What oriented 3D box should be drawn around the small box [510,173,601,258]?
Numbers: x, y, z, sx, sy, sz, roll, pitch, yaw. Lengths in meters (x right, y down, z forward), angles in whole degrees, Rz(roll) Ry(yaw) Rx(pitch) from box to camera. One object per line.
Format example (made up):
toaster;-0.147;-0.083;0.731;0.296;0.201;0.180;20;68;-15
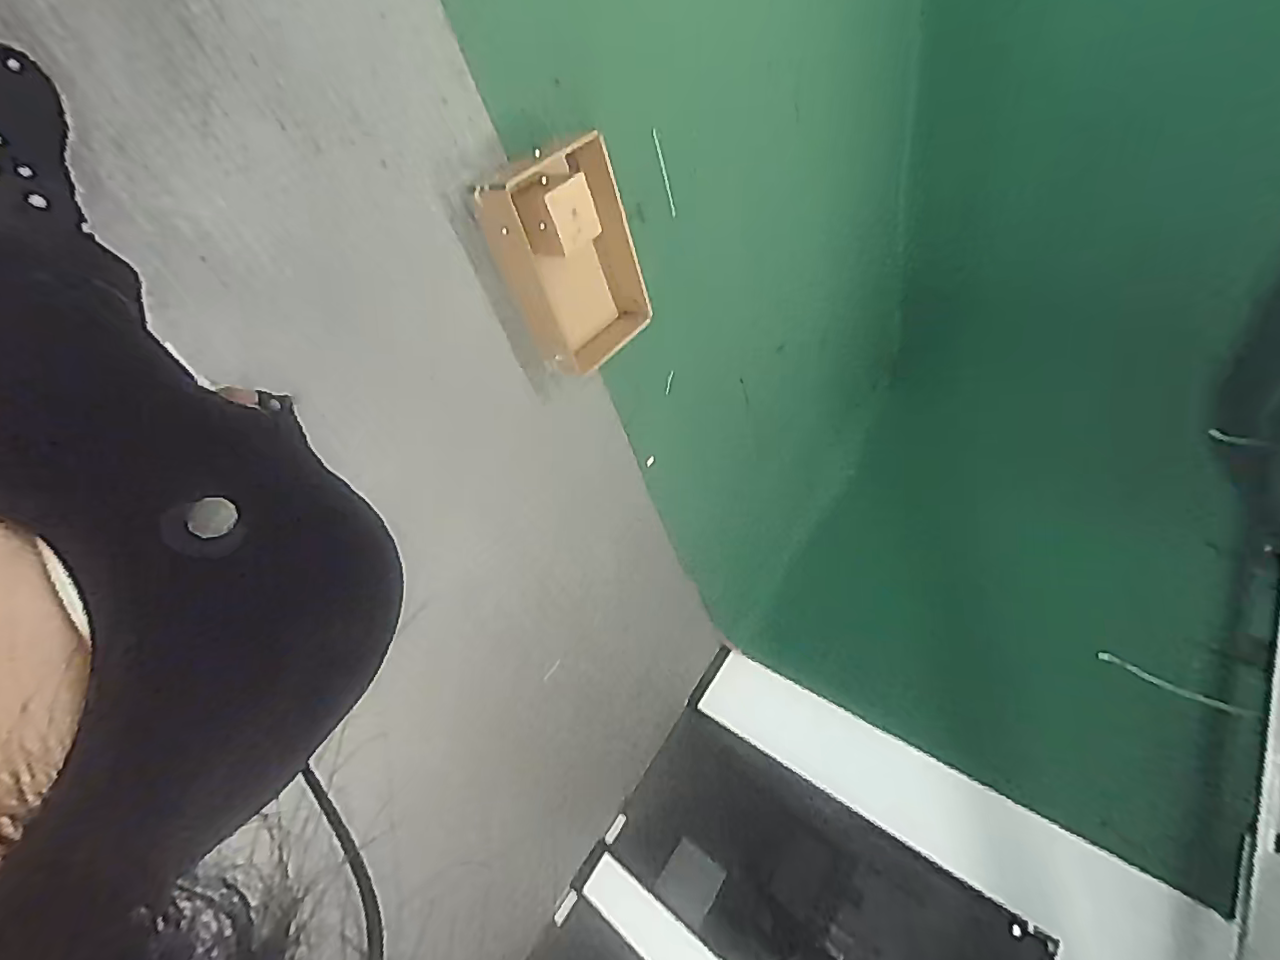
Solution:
small box;-0.250;-0.776;1.591;0.168;0.176;0.179;-47;139;-26
